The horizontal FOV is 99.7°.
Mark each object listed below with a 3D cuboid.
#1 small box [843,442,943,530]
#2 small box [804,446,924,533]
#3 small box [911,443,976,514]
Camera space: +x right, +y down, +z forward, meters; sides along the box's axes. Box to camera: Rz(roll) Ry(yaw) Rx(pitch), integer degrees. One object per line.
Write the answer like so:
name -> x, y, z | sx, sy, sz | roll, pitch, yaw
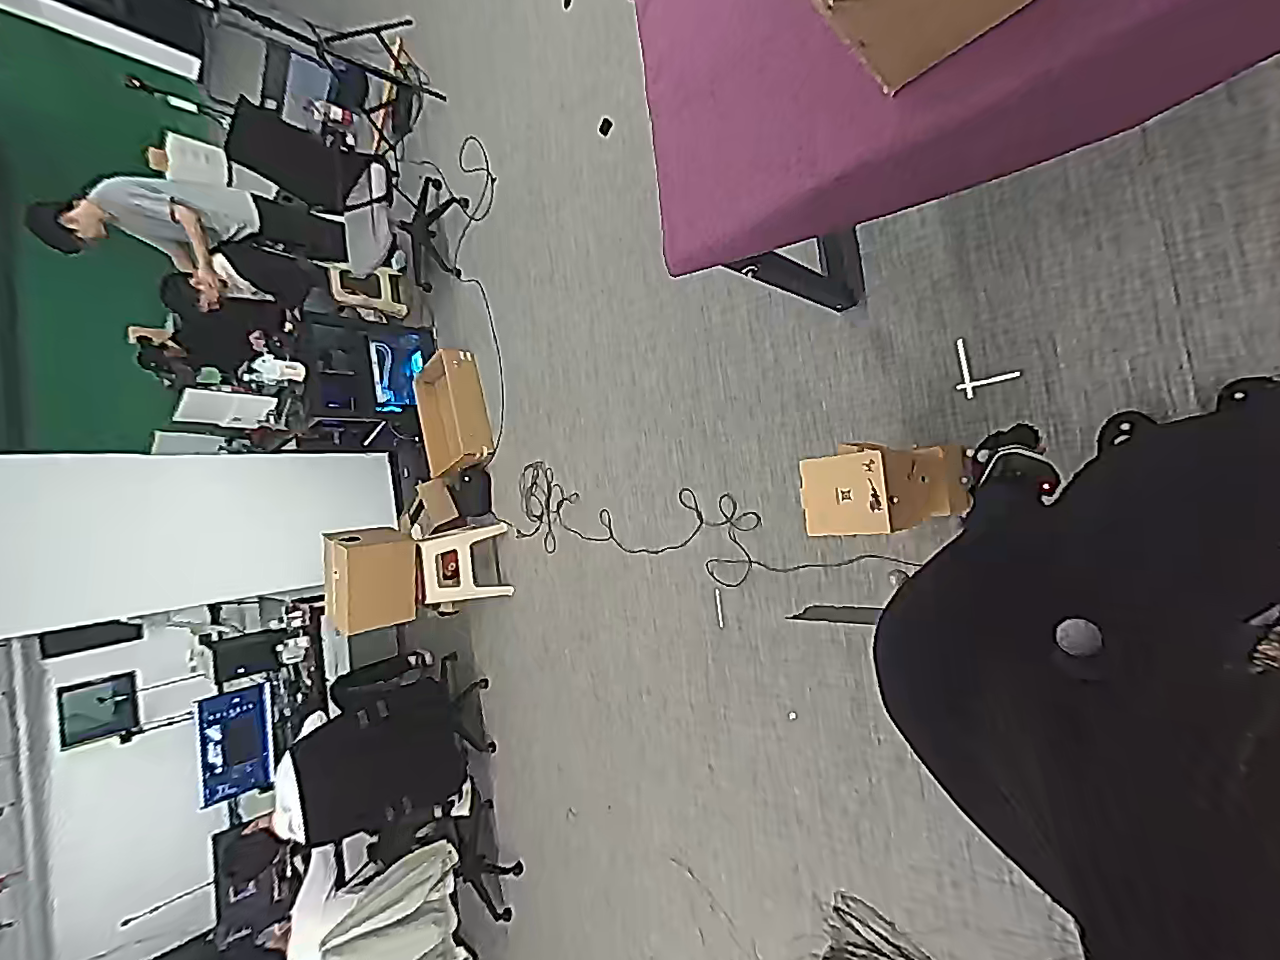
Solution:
small box -> 0.579, 0.005, 1.262 | 0.179, 0.176, 0.168 | 19, 105, 43
small box -> 0.472, 0.022, 1.139 | 0.179, 0.176, 0.168 | -8, 87, 45
small box -> 0.715, -0.001, 1.355 | 0.179, 0.176, 0.168 | -8, 88, 45
